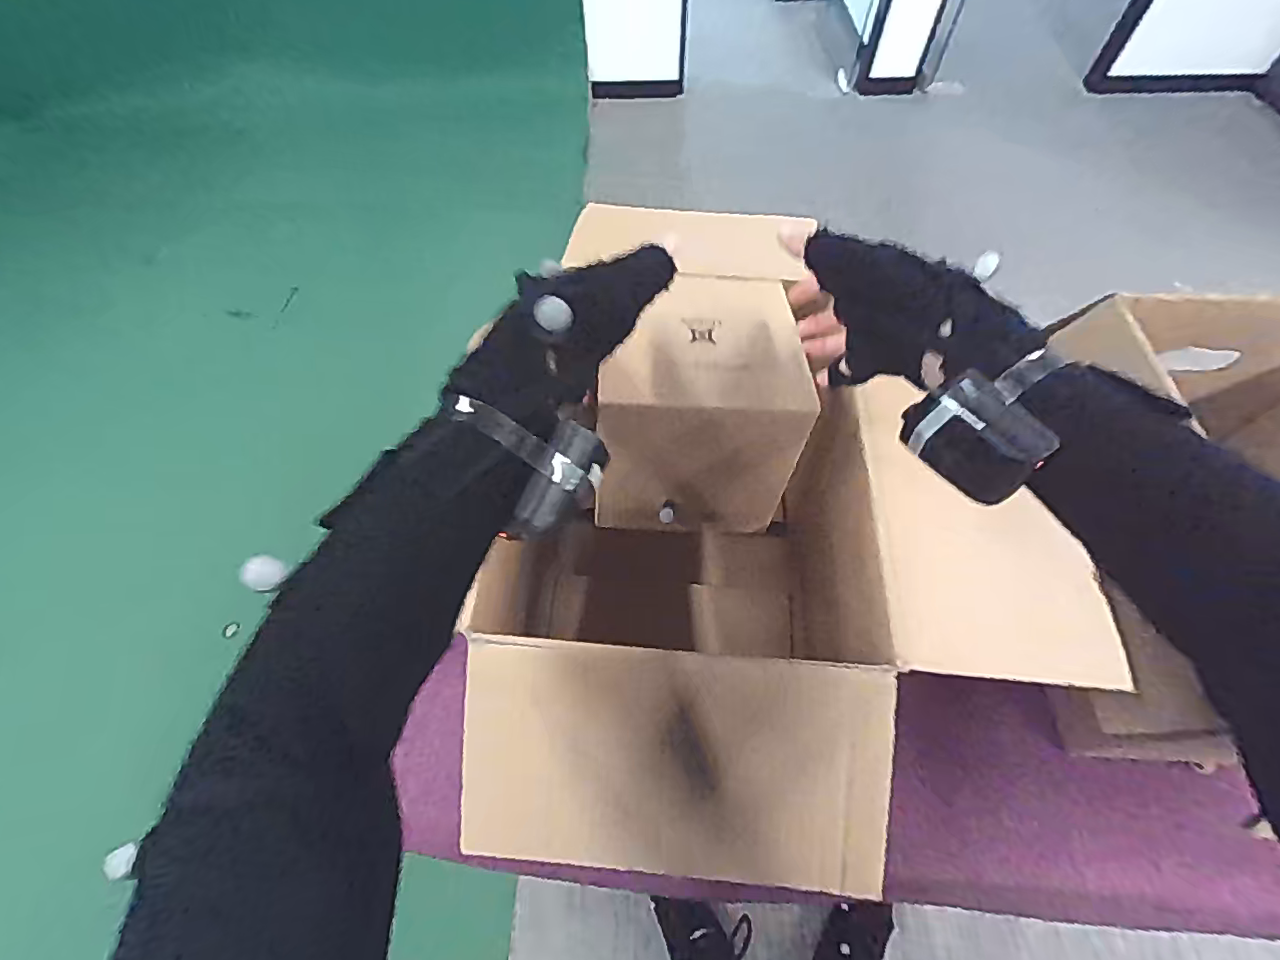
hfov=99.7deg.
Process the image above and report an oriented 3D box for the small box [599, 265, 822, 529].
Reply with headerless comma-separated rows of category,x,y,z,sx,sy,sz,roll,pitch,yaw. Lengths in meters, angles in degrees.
small box,0.048,-0.075,0.506,0.168,0.176,0.179,2,51,-2
